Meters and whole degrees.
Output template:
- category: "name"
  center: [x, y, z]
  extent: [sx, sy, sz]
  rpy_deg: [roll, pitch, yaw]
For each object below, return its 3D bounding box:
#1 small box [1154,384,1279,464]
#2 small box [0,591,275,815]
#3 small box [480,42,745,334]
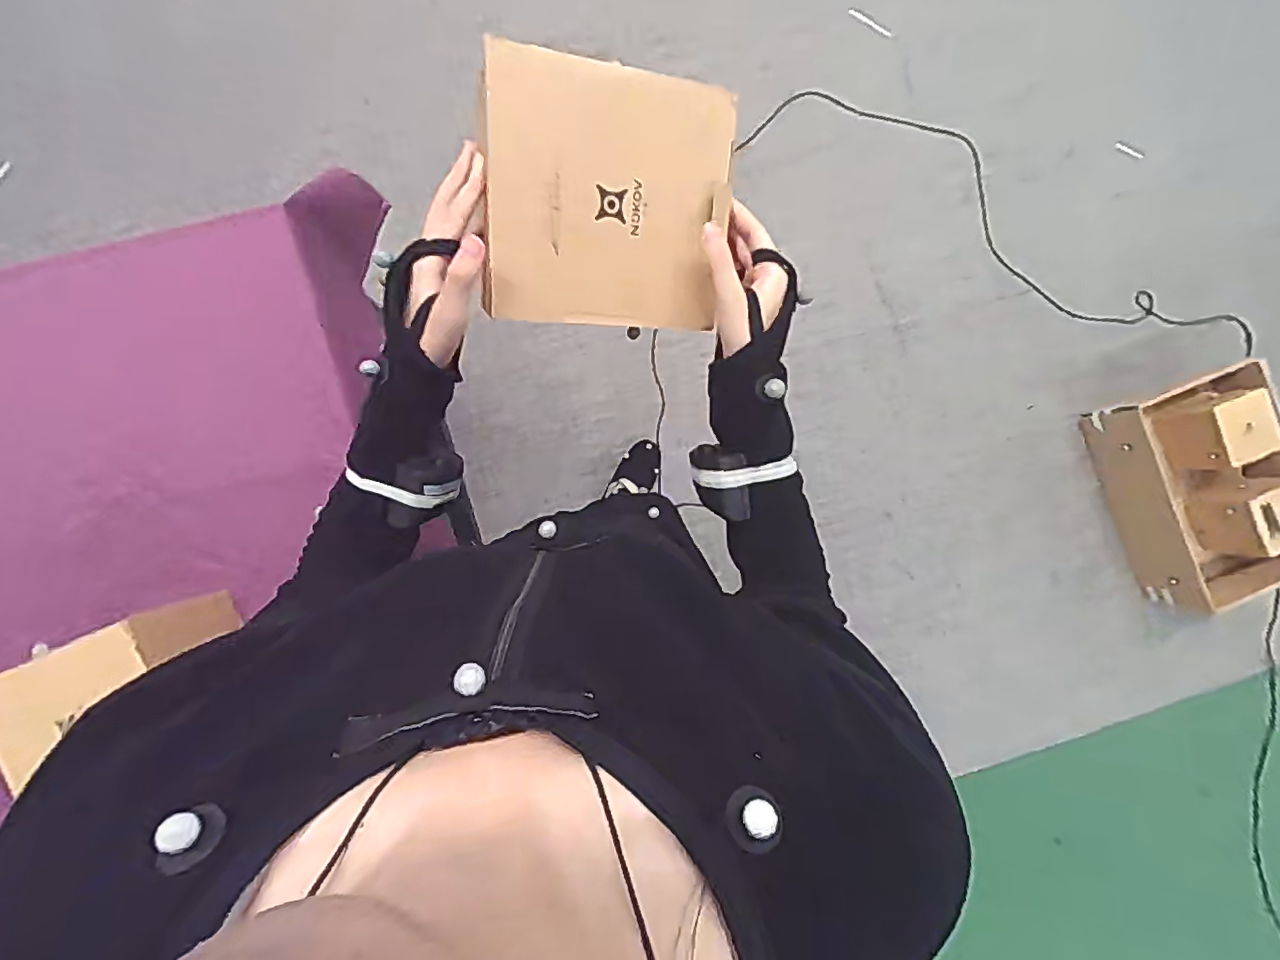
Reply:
- category: "small box"
  center: [1.614, -0.150, 1.520]
  extent: [0.168, 0.176, 0.179]
  rpy_deg: [-21, 93, -2]
- category: "small box"
  center: [-0.609, 0.258, 0.670]
  extent: [0.179, 0.176, 0.168]
  rpy_deg: [-24, 92, -5]
- category: "small box"
  center: [-0.039, -0.222, 0.457]
  extent: [0.179, 0.176, 0.168]
  rpy_deg: [-1, 110, -19]
